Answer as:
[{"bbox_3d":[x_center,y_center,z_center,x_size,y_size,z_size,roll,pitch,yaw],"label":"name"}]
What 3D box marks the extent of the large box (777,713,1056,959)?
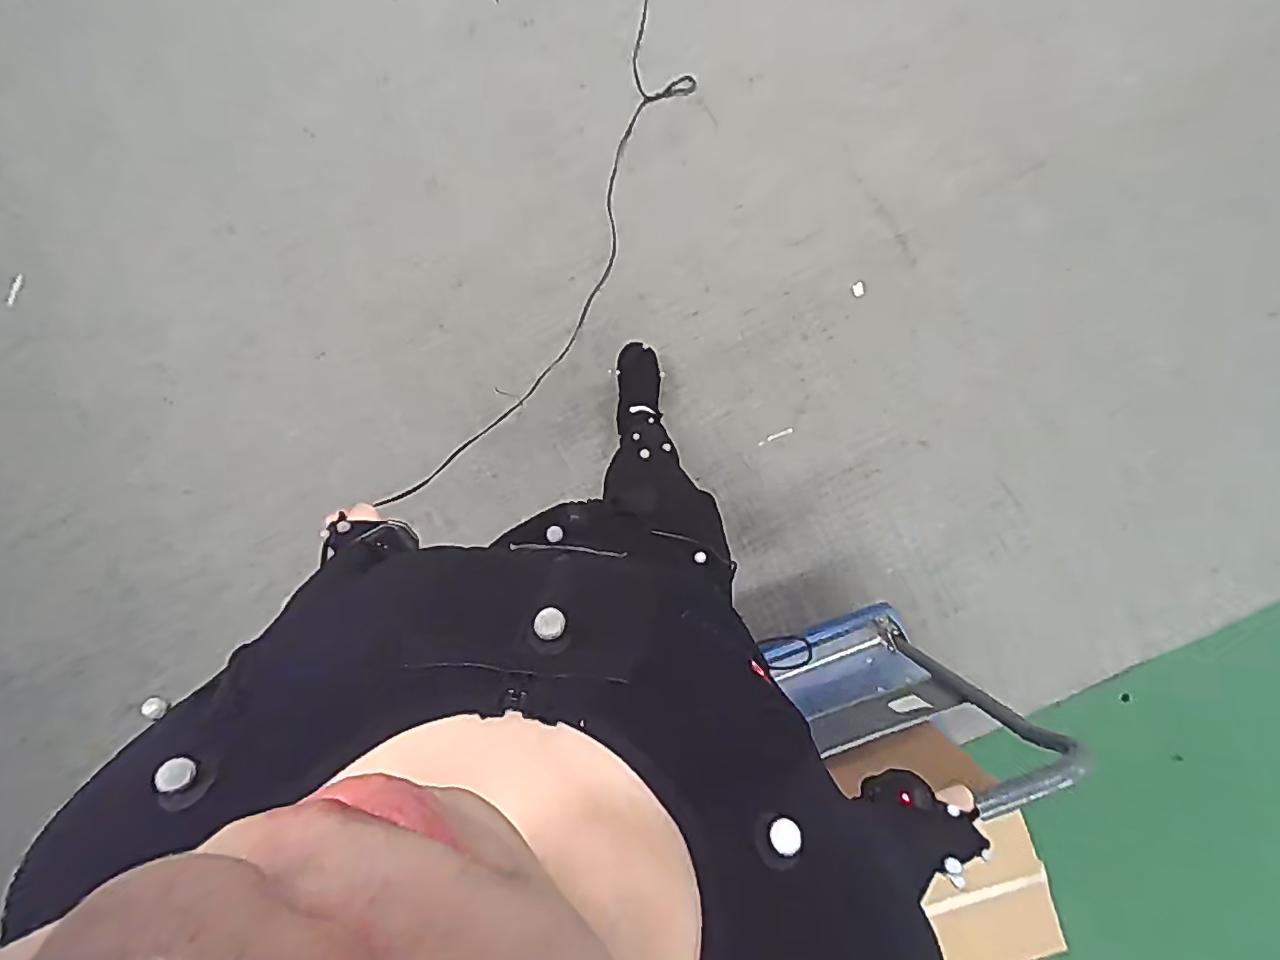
[{"bbox_3d":[0.566,0.778,1.183,0.408,0.320,0.320,-19,90,3],"label":"large box"}]
